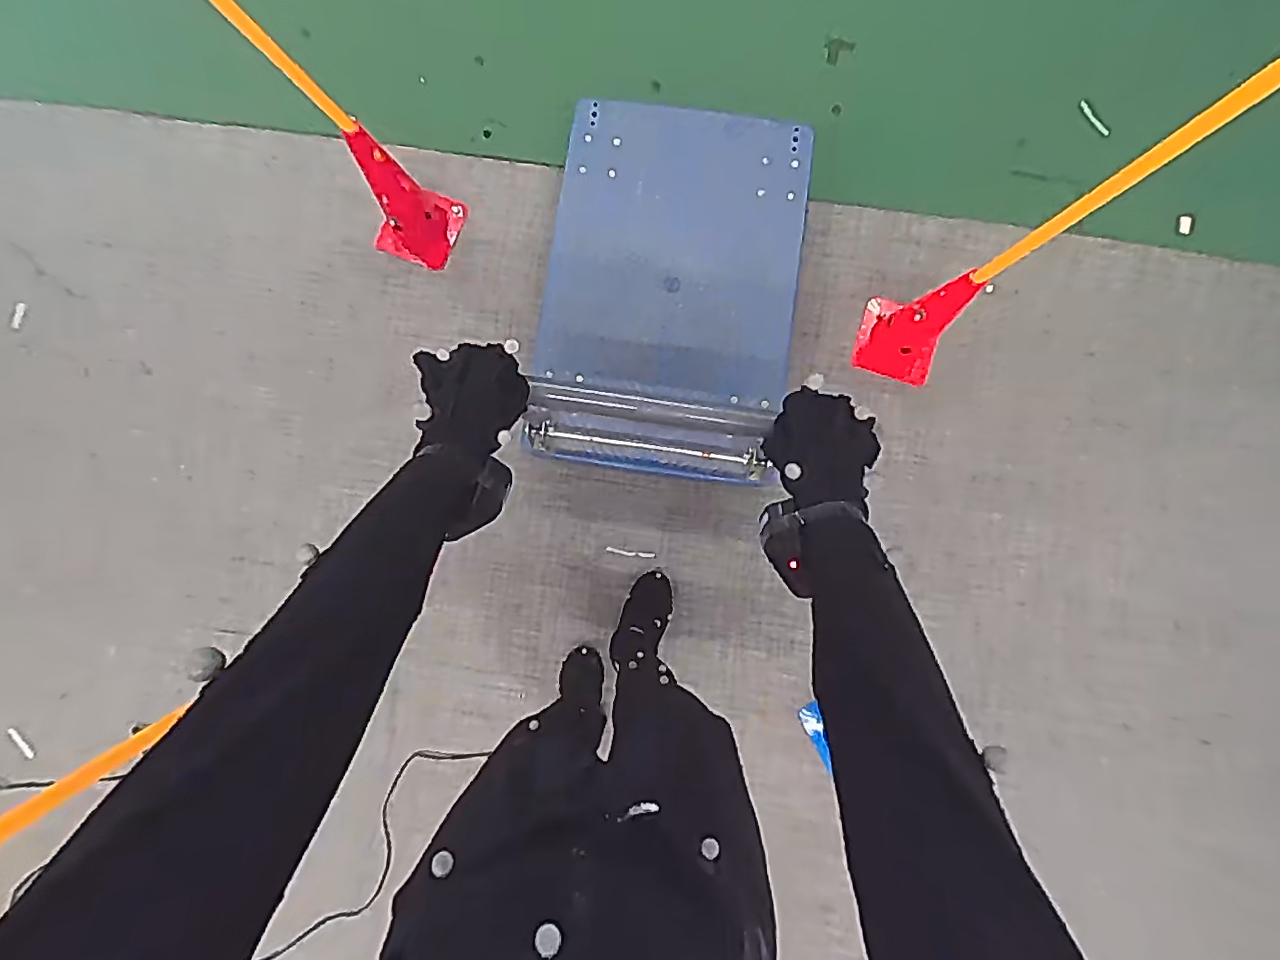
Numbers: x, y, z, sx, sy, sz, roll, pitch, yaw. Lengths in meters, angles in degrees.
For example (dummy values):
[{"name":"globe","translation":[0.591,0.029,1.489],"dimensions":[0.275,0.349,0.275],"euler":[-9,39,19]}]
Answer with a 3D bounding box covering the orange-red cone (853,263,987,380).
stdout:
[{"name":"orange-red cone","translation":[0.665,-0.389,1.231],"dimensions":[0.198,0.360,0.199],"euler":[19,85,3]}]
